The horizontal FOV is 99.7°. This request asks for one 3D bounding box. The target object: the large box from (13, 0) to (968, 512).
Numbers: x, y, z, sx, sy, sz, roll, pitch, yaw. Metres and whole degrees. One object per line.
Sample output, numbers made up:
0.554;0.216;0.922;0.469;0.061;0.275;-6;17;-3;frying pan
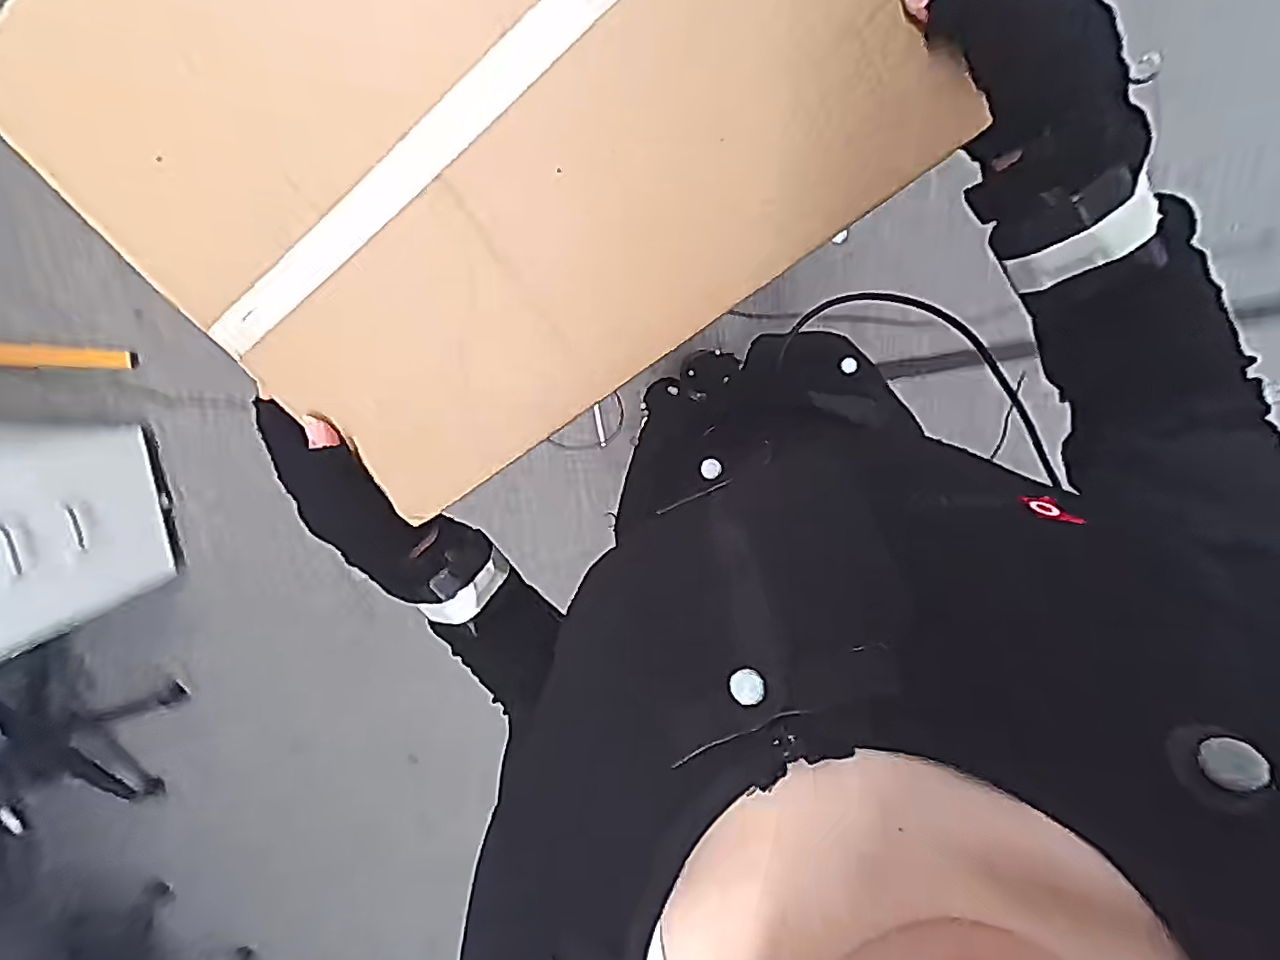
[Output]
-0.072;-0.255;0.408;0.408;0.320;0.320;-31;111;16;large box
